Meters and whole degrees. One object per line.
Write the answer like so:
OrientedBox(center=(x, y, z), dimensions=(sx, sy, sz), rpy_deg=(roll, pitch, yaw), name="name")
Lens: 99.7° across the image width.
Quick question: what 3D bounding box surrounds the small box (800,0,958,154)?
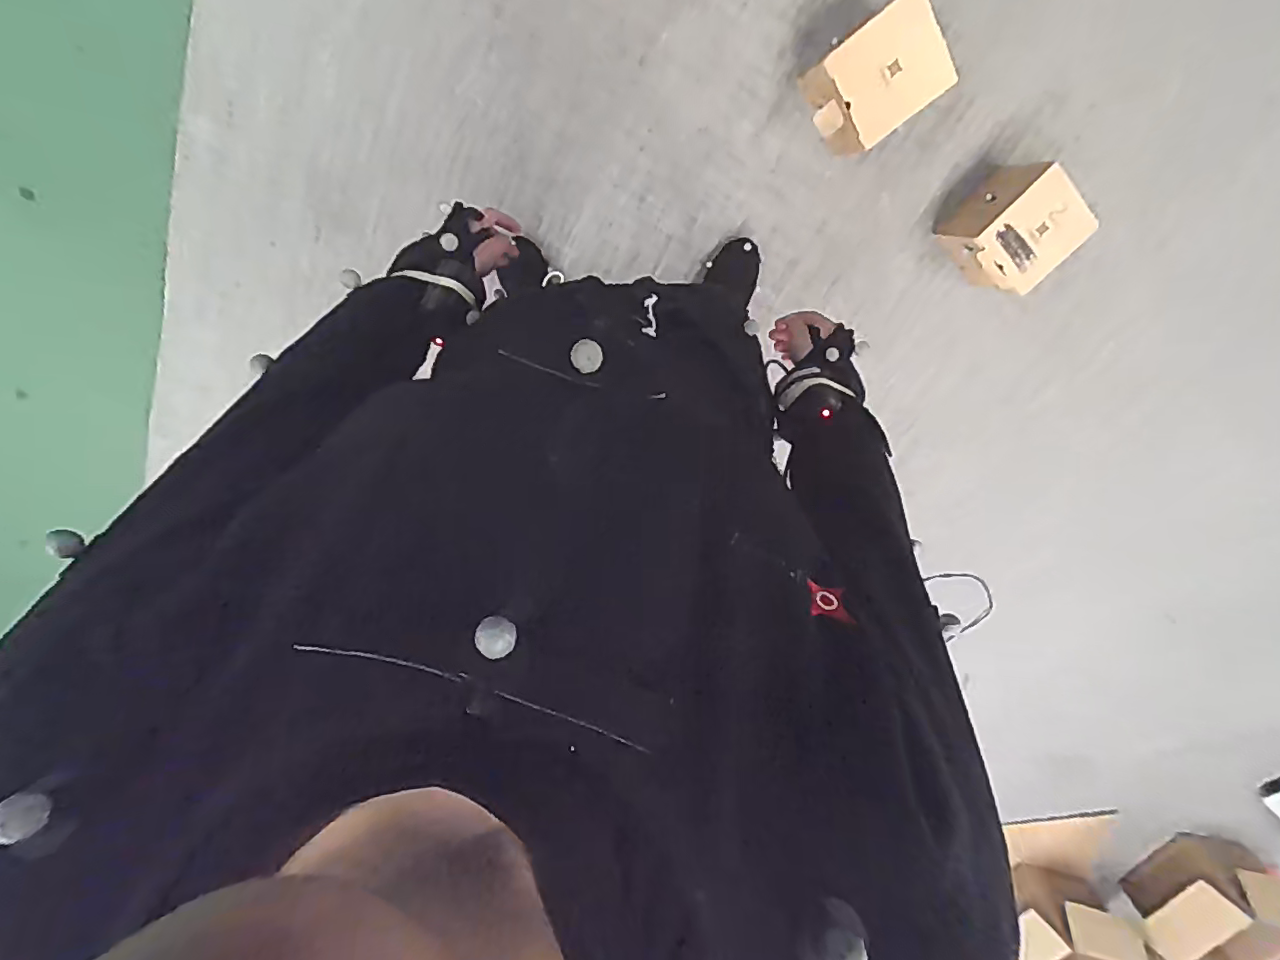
OrientedBox(center=(0.419, -0.720, 0.971), dimensions=(0.179, 0.176, 0.168), rpy_deg=(-34, 114, 16), name="small box")
